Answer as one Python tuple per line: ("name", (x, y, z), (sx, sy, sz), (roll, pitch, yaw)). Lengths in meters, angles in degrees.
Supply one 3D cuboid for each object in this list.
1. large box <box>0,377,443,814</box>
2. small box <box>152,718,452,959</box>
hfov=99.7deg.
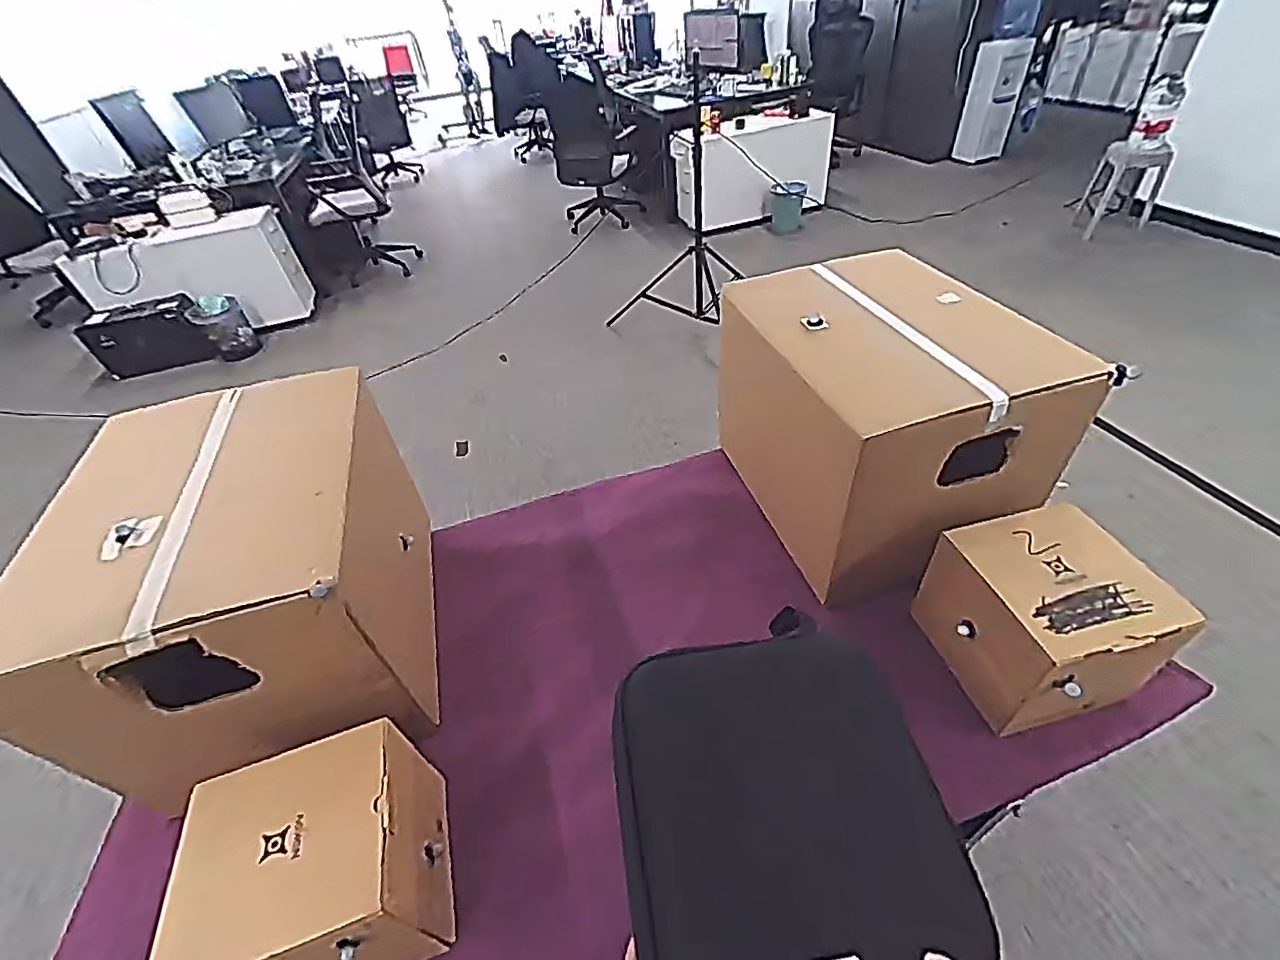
("large box", (-0.465, 0.126, 0.700), (0.320, 0.320, 0.408), (-16, 45, -11))
("small box", (-0.298, 0.370, 0.516), (0.179, 0.176, 0.168), (-17, 42, -12))
